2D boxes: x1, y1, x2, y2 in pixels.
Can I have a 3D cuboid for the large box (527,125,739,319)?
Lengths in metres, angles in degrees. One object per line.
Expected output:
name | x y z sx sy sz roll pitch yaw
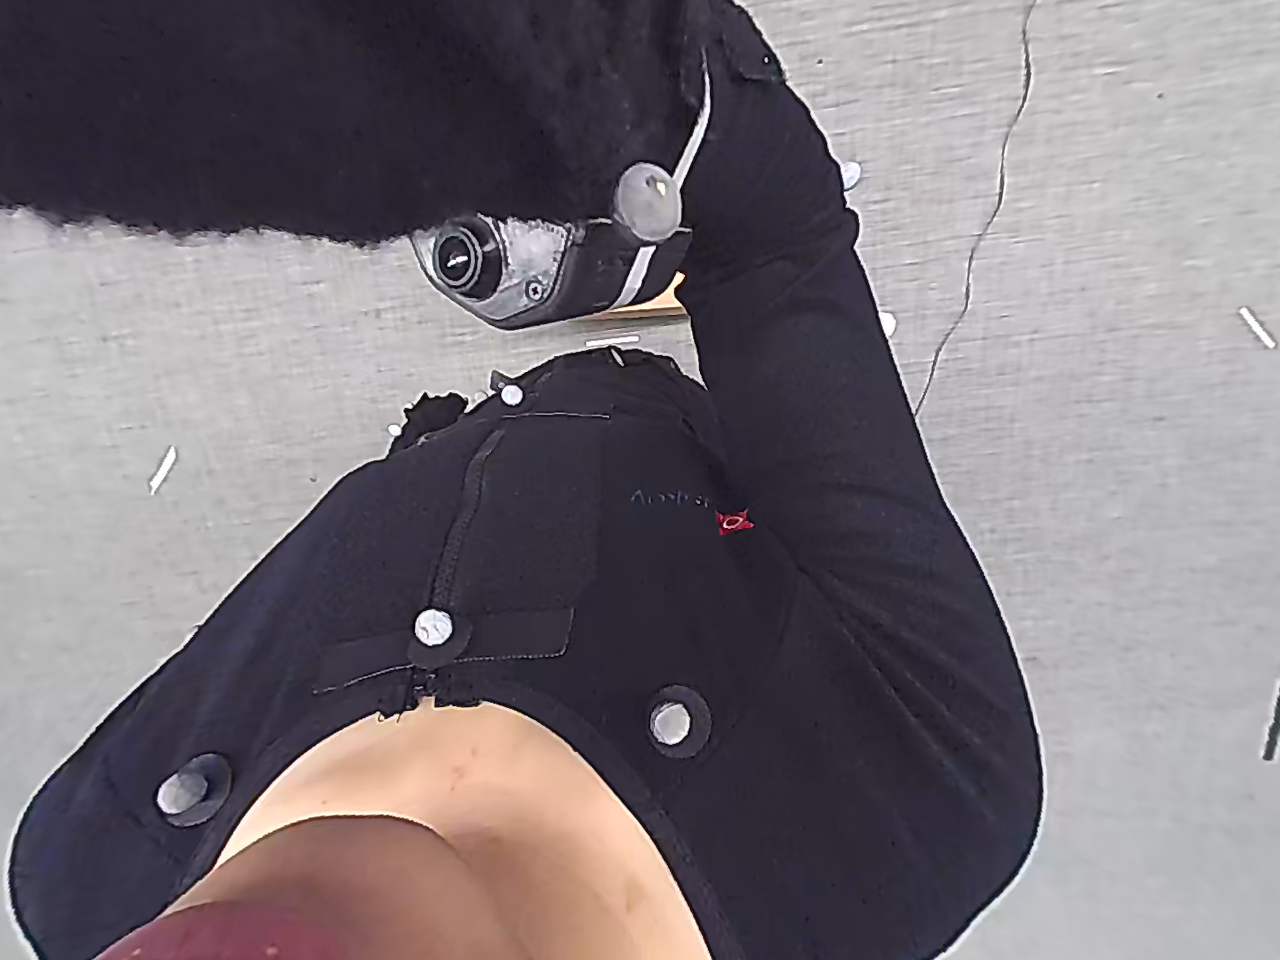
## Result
large box | -0.008 -0.543 1.208 0.408 0.320 0.320 -3 104 2
